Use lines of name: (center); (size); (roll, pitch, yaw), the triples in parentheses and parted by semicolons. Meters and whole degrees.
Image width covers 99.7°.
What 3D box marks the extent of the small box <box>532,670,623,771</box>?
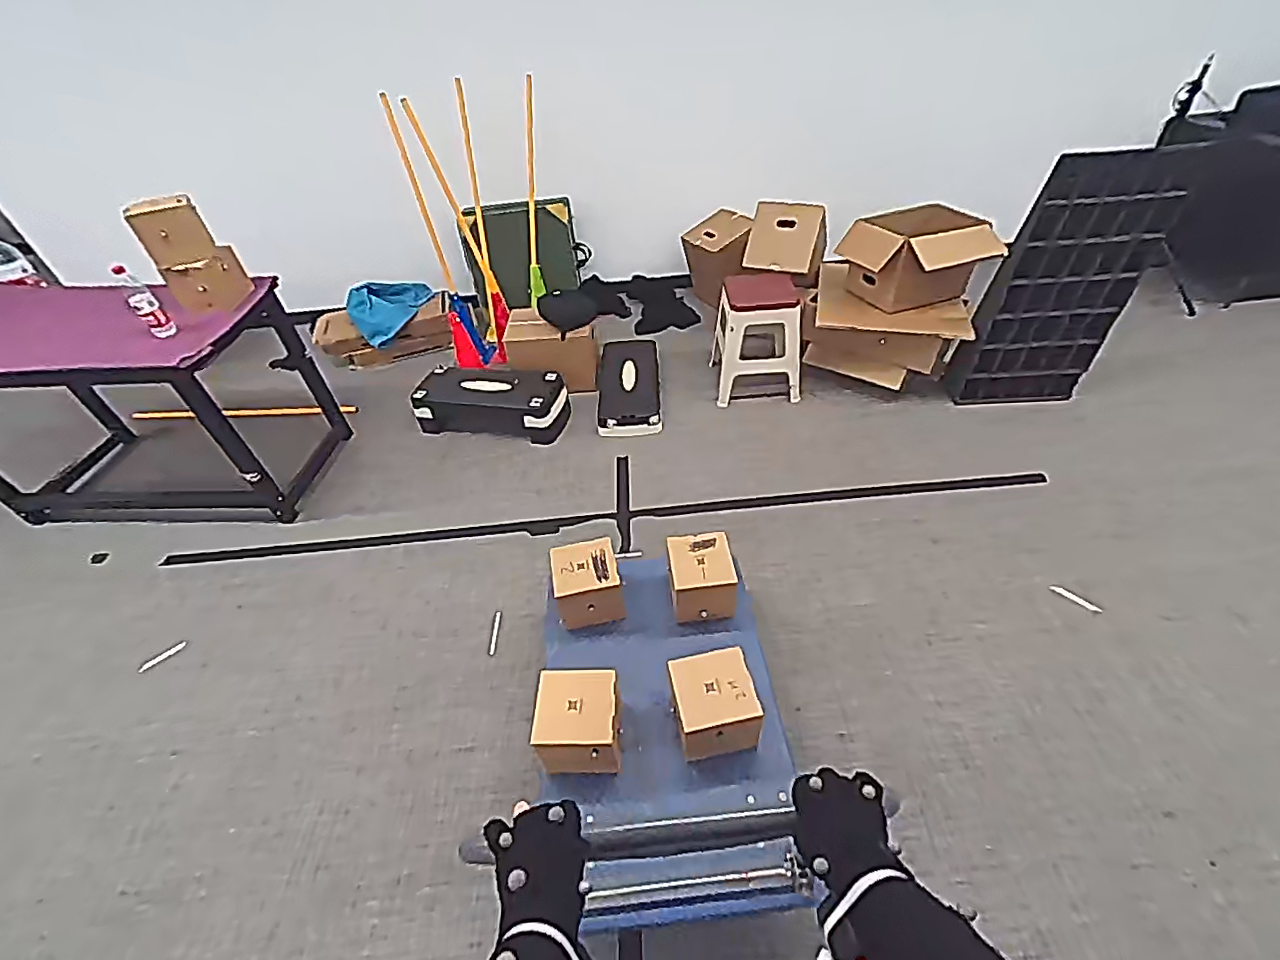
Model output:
small box: (-0.137, 0.555, 1.244); (0.179, 0.176, 0.168); (-1, 43, 2)

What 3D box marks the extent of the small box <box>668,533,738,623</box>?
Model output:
small box: (0.169, 0.274, 1.505); (0.168, 0.176, 0.179); (-7, 45, -1)

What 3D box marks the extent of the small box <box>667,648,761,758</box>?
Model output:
small box: (0.168, 0.519, 1.250); (0.179, 0.176, 0.168); (-10, 44, -4)
